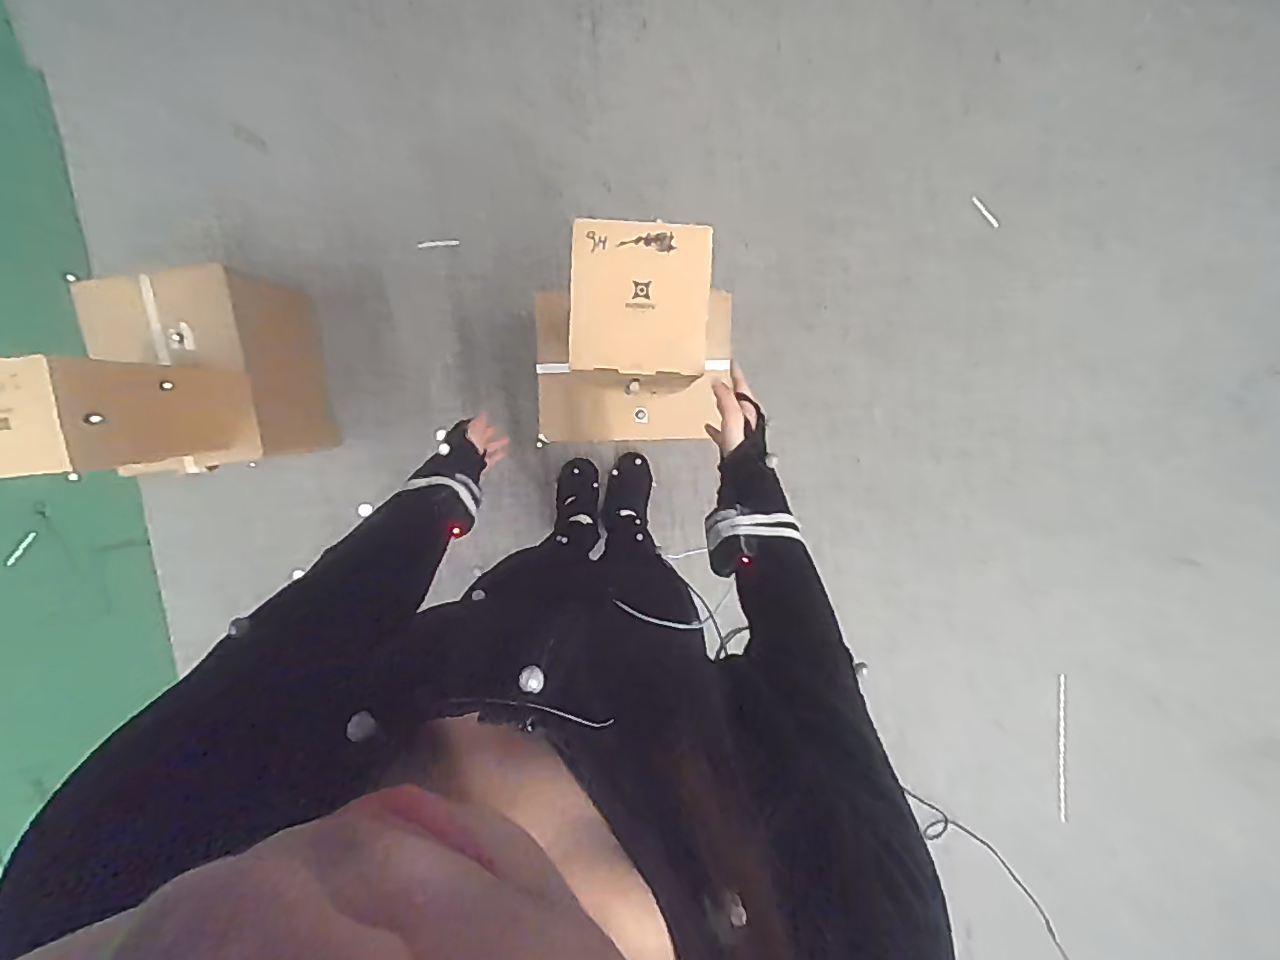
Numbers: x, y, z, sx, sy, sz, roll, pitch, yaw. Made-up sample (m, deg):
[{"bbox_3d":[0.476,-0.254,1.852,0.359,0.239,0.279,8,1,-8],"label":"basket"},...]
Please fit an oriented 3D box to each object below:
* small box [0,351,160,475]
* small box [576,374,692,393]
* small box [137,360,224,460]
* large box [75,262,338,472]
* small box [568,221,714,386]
[{"bbox_3d":[-0.931,-0.107,0.873,0.168,0.176,0.179,-5,97,-1],"label":"small box"},{"bbox_3d":[-0.005,-0.234,0.883,0.179,0.176,0.168,4,95,-2],"label":"small box"},{"bbox_3d":[-0.944,-0.130,1.036,0.168,0.176,0.179,-5,97,-1],"label":"small box"},{"bbox_3d":[-0.971,-0.247,1.266,0.320,0.320,0.408,-7,97,-1],"label":"large box"},{"bbox_3d":[-0.002,-0.220,0.719,0.168,0.176,0.179,3,96,-2],"label":"small box"}]
